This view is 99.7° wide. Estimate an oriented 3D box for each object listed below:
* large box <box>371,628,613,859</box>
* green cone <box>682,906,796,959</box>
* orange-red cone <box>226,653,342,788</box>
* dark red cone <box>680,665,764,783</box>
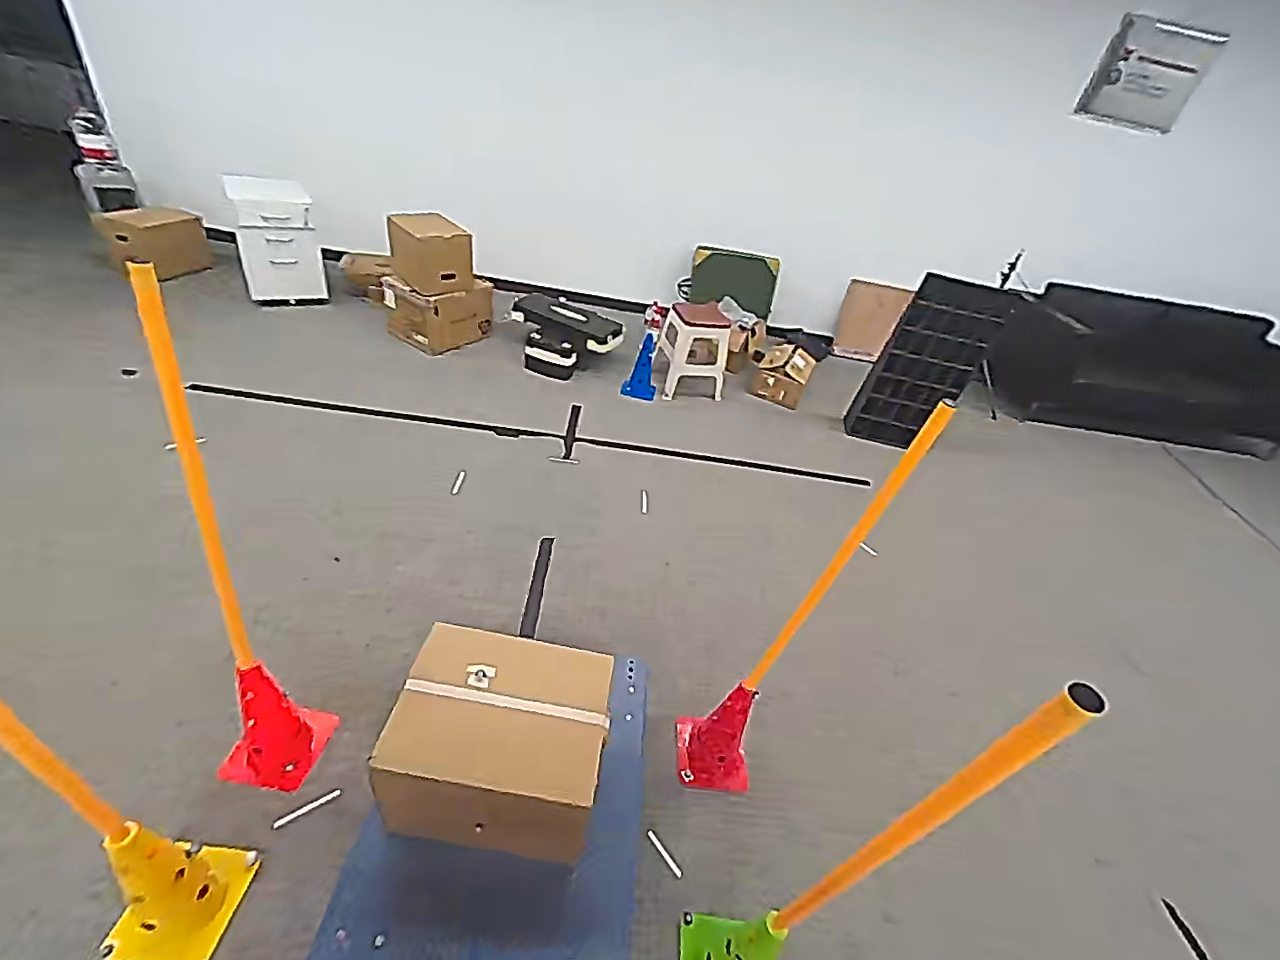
[{"bbox_3d":[-0.287,0.565,1.163,0.408,0.320,0.320,11,37,-1],"label":"large box"},{"bbox_3d":[0.220,0.928,1.068,0.202,0.368,0.200,12,36,-3],"label":"green cone"},{"bbox_3d":[-0.869,0.531,1.281,0.198,0.360,0.199,14,35,0],"label":"orange-red cone"},{"bbox_3d":[0.248,0.627,1.448,0.201,0.394,0.202,10,37,-7],"label":"dark red cone"}]
